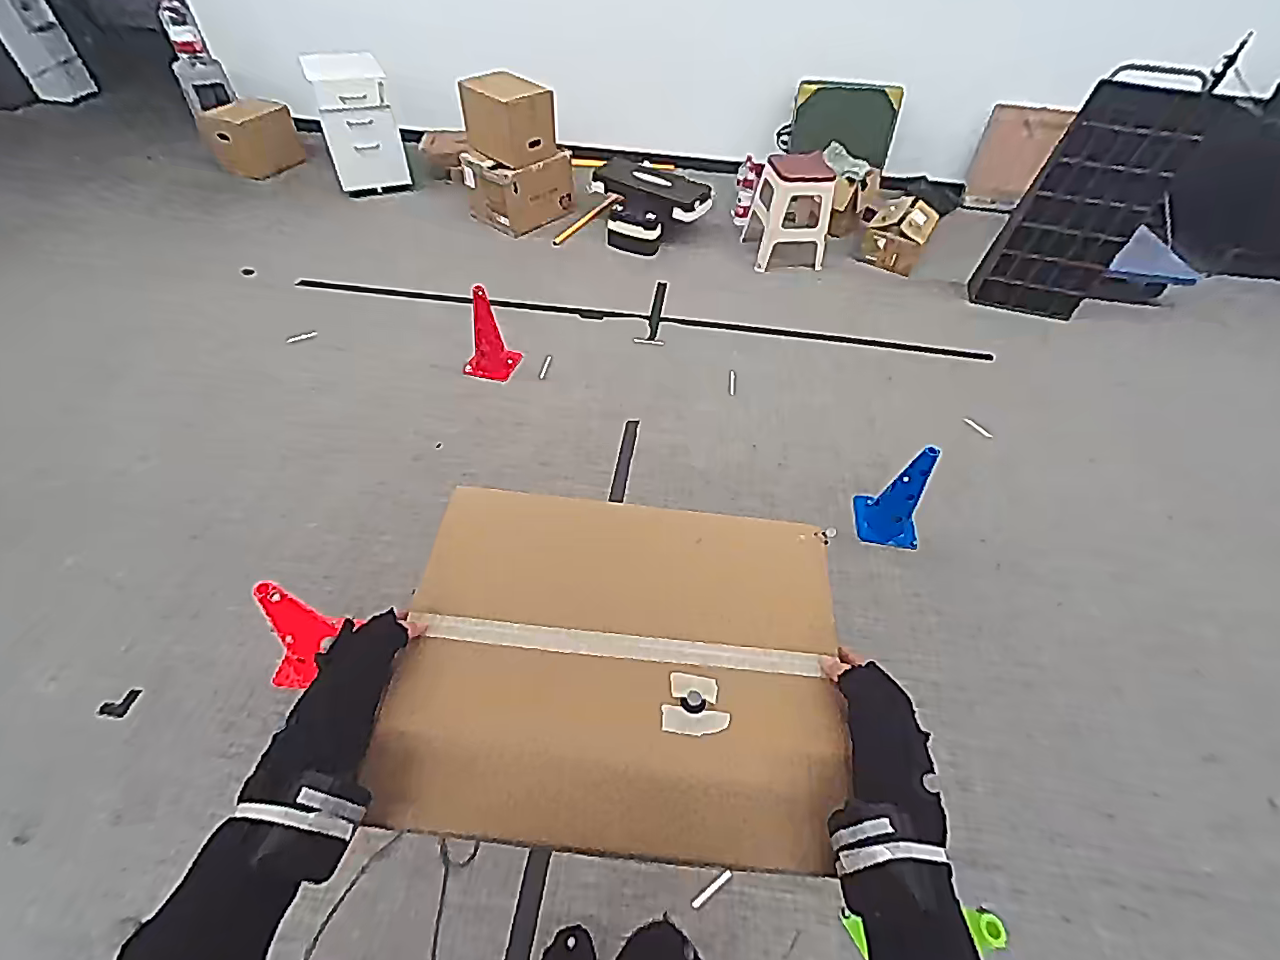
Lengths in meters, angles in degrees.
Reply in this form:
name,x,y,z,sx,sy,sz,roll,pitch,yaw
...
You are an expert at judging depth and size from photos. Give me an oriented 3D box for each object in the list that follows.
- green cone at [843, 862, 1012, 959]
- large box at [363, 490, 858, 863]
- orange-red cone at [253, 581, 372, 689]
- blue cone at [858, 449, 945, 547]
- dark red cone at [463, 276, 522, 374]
name,x,y,z,sx,sy,sz,roll,pitch,yaw
green cone,0.571,0.848,1.011,0.202,0.368,0.200,-21,55,-22
large box,-0.023,0.240,0.631,0.408,0.320,0.320,7,55,0
orange-red cone,-0.847,0.354,1.339,0.198,0.360,0.199,5,51,2
blue cone,0.866,0.039,1.746,0.192,0.380,0.193,11,50,4
dark red cone,-0.609,-0.625,2.160,0.201,0.394,0.202,13,50,5
